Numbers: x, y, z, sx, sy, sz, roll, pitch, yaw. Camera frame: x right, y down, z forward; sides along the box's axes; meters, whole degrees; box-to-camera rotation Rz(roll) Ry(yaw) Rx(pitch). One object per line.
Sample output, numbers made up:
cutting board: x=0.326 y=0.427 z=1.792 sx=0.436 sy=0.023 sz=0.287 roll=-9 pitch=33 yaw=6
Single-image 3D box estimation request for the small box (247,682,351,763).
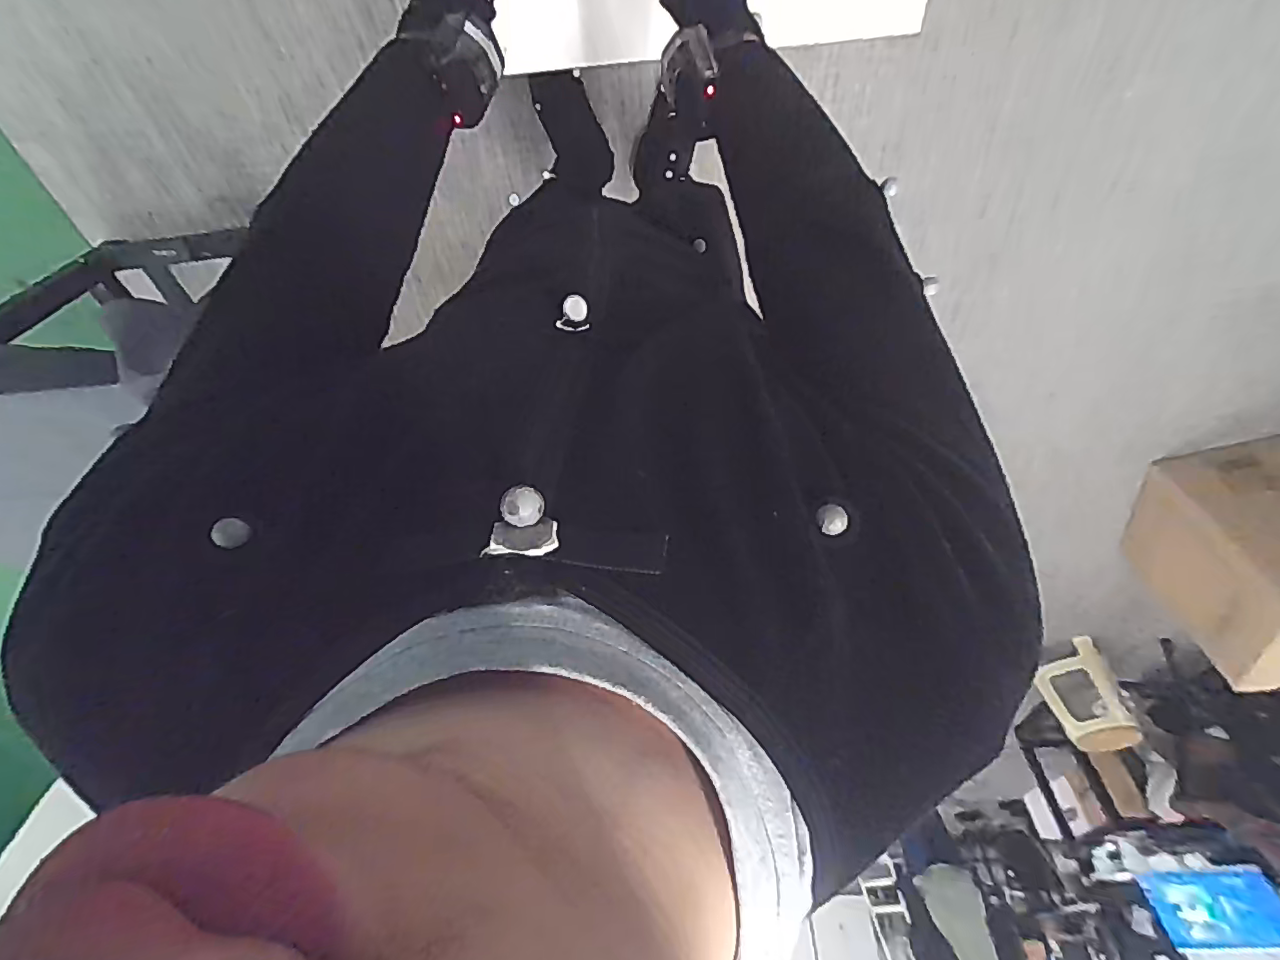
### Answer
small box: x=-0.978 y=0.705 z=1.573 sx=0.168 sy=0.176 sz=0.179 roll=-4 pitch=135 yaw=3
